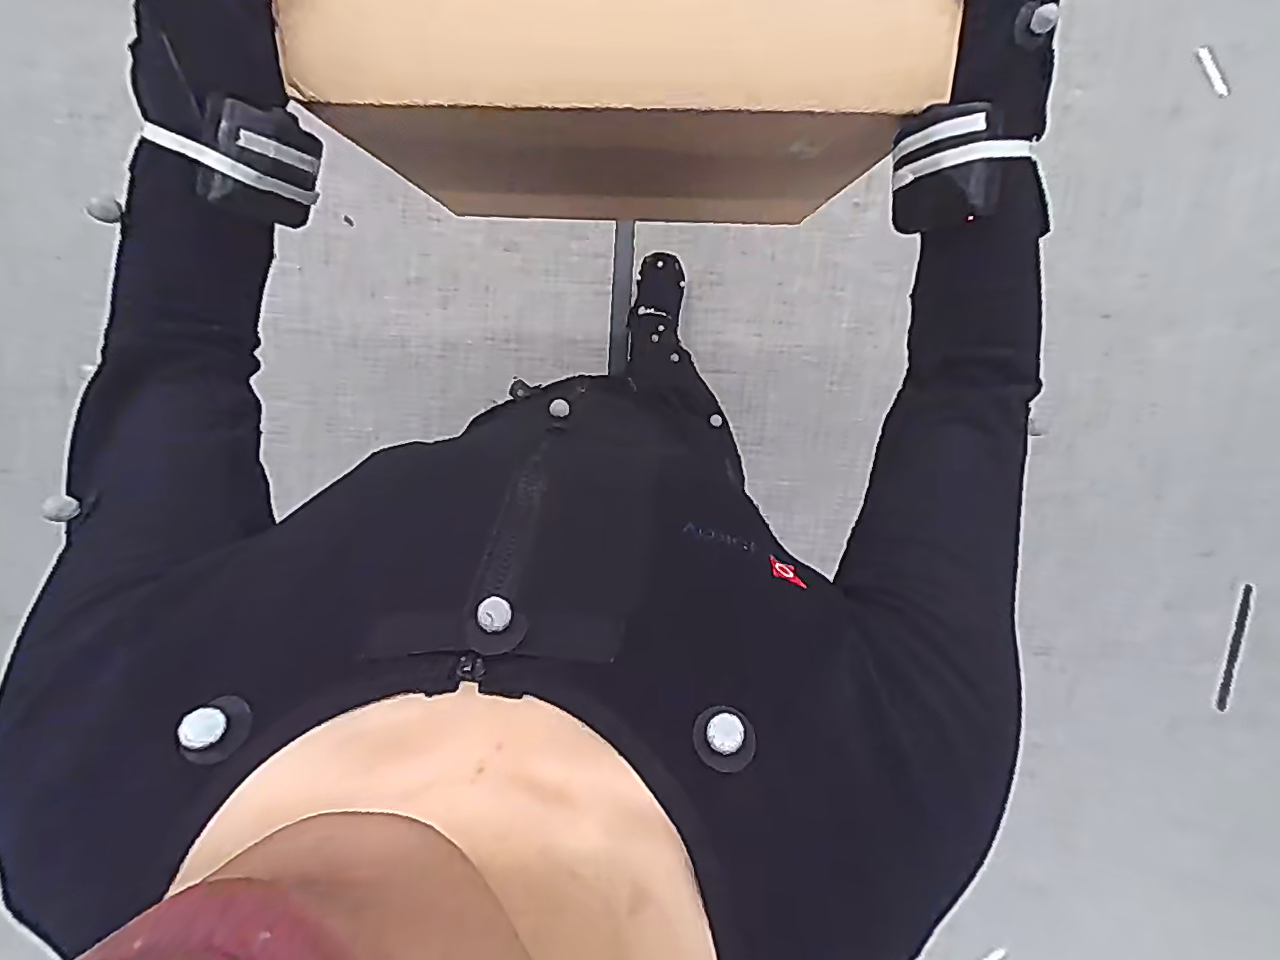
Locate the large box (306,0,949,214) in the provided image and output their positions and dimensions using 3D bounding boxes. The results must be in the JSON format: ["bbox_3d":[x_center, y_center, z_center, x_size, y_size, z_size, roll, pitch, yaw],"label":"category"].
[{"bbox_3d":[-0.009,-0.428,0.454,0.408,0.320,0.320,1,104,-1],"label":"large box"}]
